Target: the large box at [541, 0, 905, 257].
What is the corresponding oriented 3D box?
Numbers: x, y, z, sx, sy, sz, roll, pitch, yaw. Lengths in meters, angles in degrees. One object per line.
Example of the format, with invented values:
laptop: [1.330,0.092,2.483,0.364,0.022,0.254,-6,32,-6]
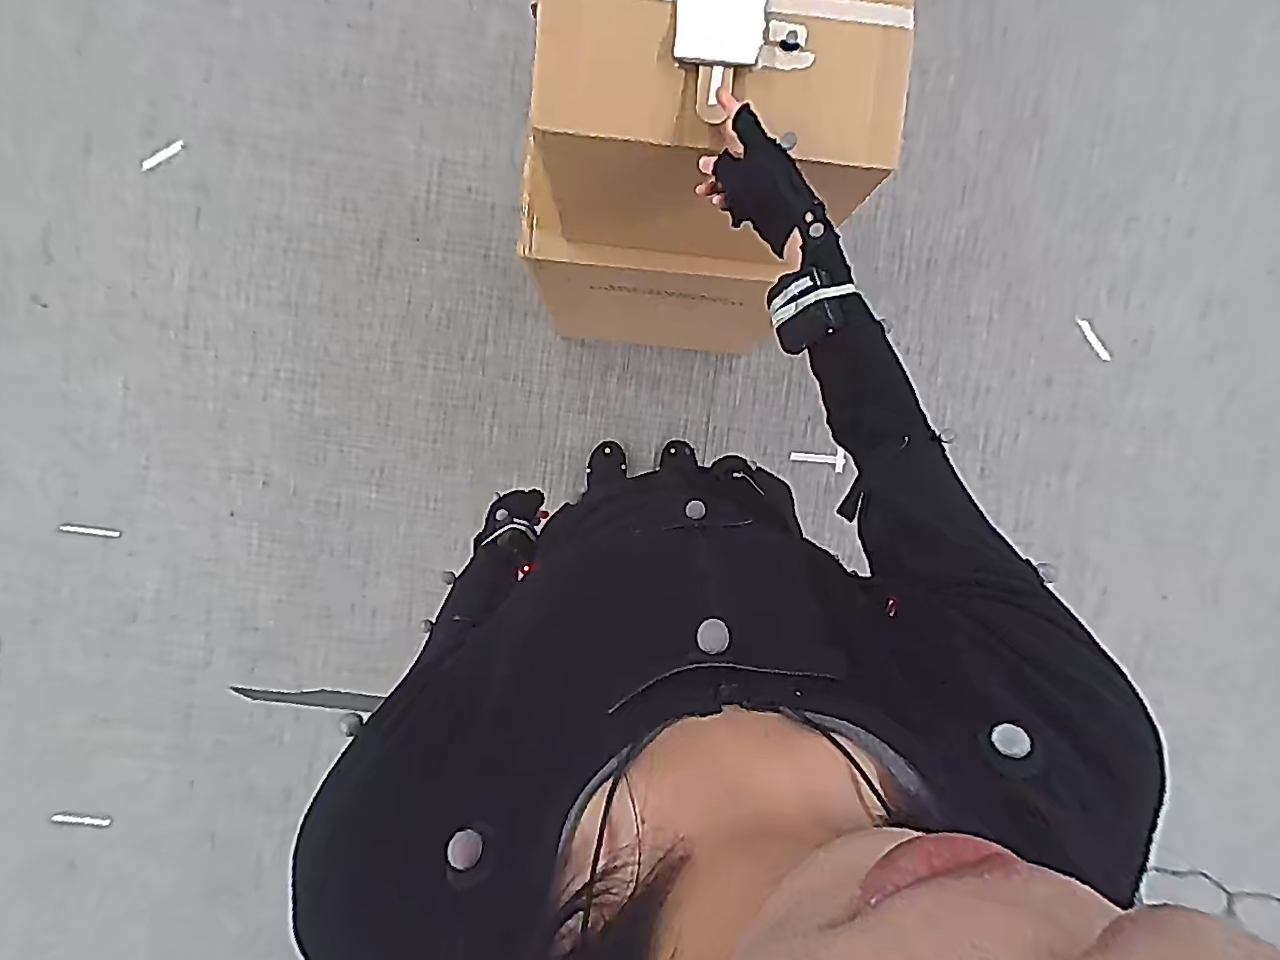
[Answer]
large box: [0.088,-0.529,0.745,0.408,0.320,0.320,5,93,-3]
